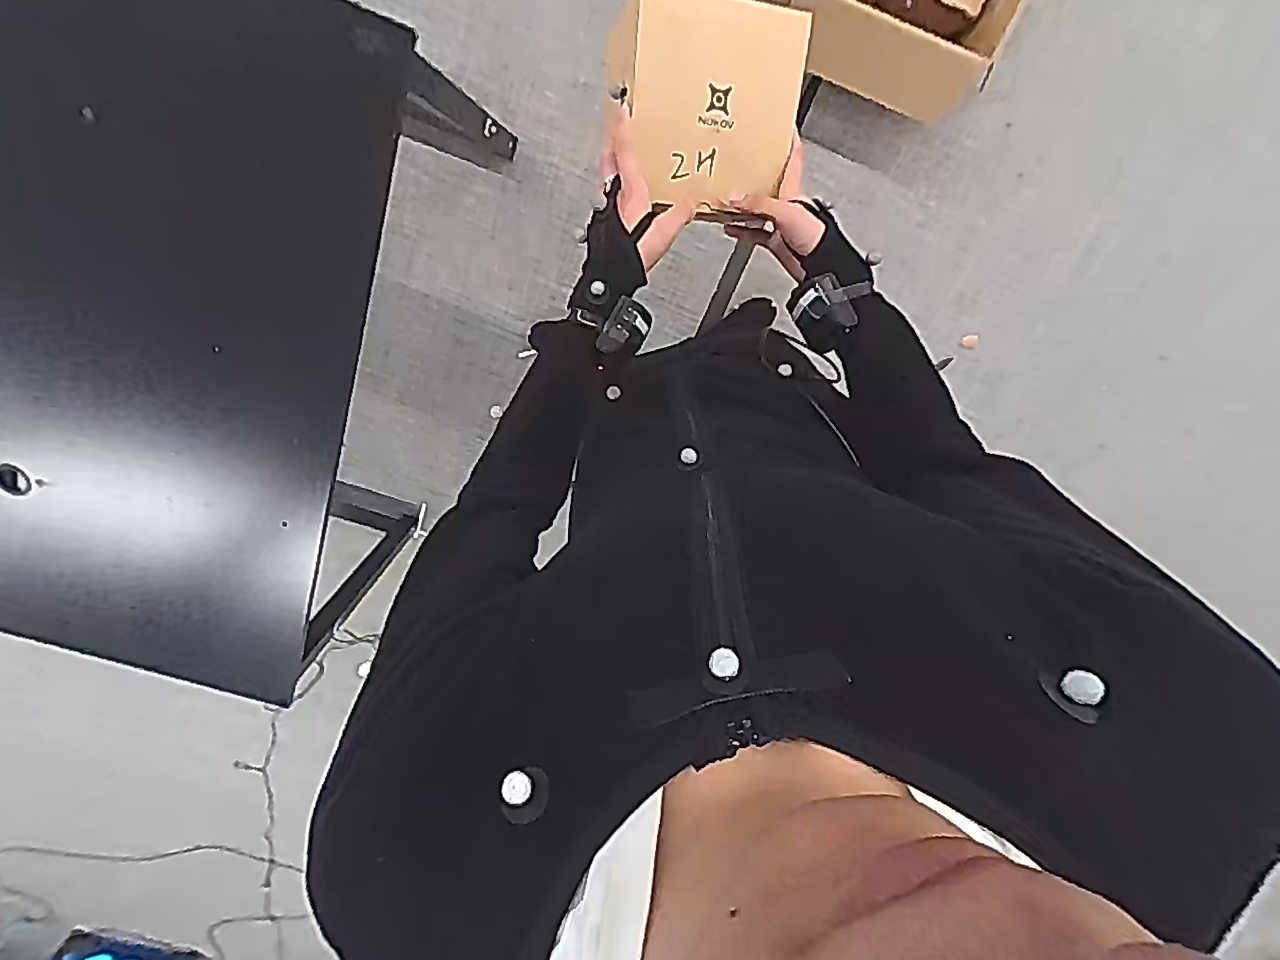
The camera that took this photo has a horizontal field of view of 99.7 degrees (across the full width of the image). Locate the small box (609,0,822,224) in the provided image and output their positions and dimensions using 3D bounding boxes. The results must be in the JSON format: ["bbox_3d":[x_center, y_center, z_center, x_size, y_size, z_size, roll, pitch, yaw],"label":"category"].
[{"bbox_3d":[0.063,-0.380,0.577,0.168,0.176,0.179,1,114,-13],"label":"small box"}]
